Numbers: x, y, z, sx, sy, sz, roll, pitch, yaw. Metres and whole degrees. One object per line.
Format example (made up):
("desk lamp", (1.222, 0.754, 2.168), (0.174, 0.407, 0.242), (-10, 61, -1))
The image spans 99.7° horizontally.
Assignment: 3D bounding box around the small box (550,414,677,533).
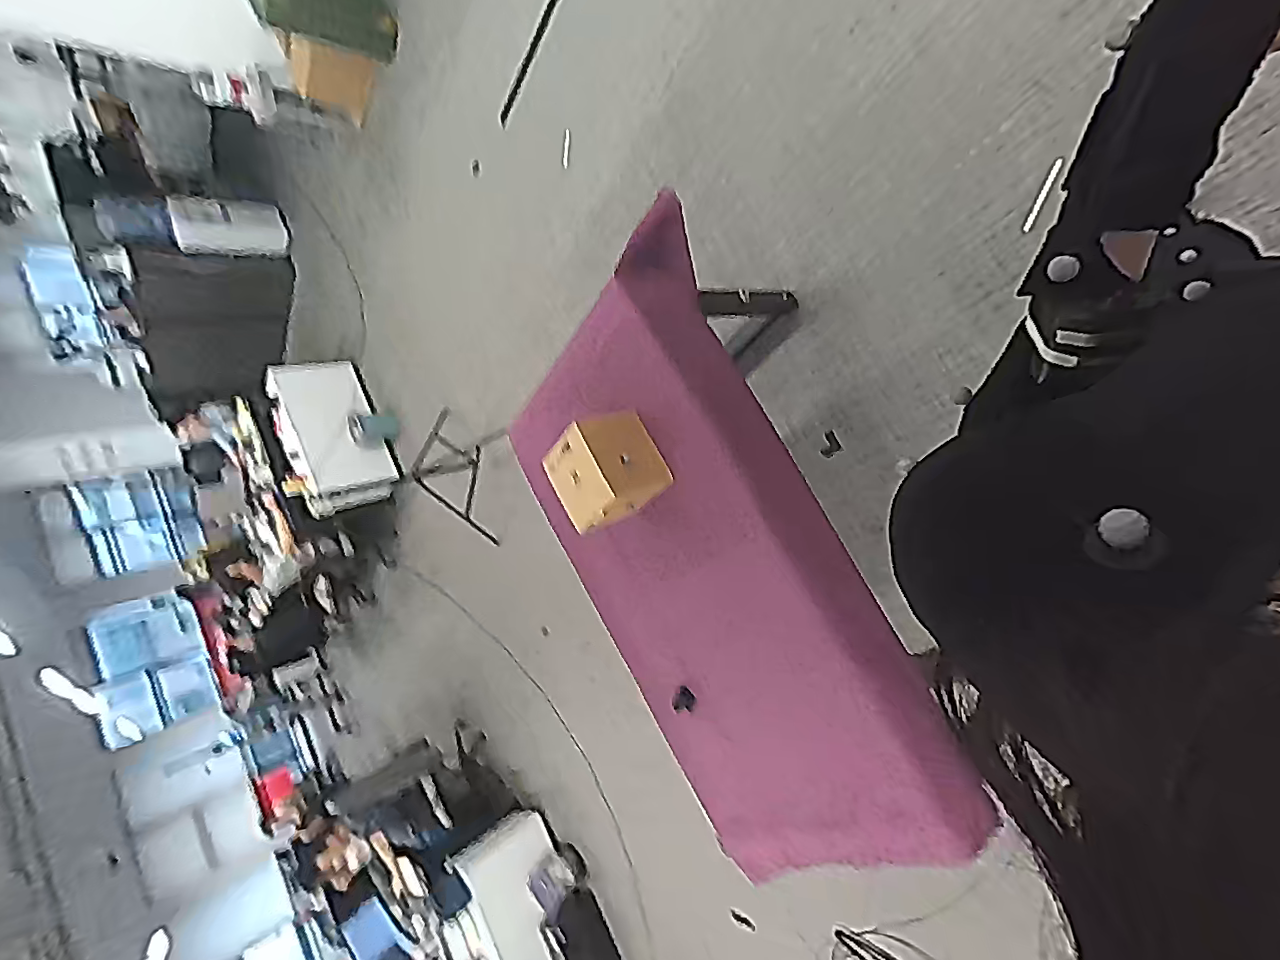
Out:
("small box", (-0.053, -0.018, 1.137), (0.168, 0.176, 0.179), (-44, 72, 45))
